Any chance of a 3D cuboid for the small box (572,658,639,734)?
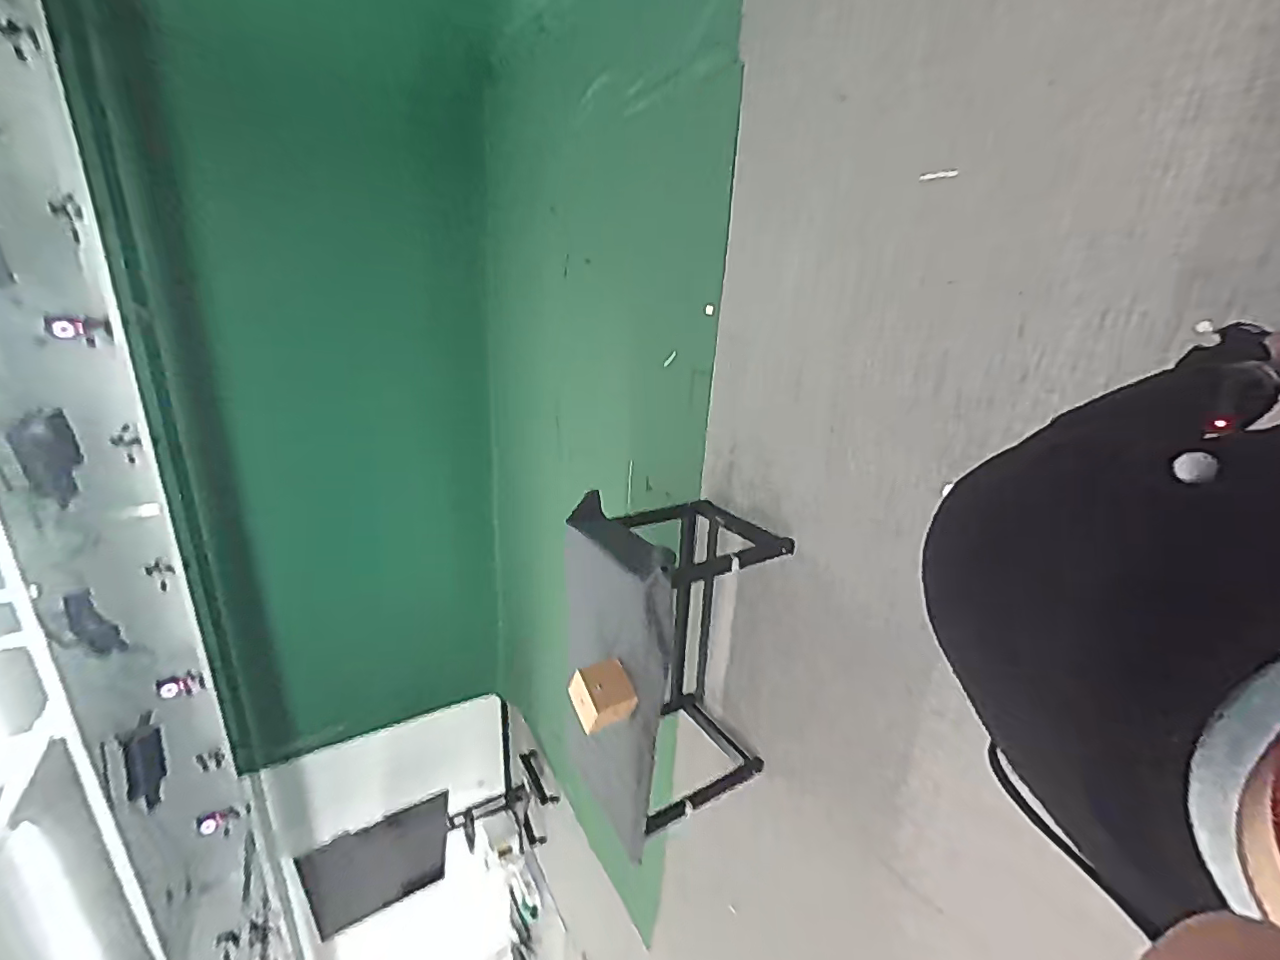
[{"bbox_3d":[-0.122,0.774,1.953,0.179,0.176,0.168,57,140,36],"label":"small box"}]
